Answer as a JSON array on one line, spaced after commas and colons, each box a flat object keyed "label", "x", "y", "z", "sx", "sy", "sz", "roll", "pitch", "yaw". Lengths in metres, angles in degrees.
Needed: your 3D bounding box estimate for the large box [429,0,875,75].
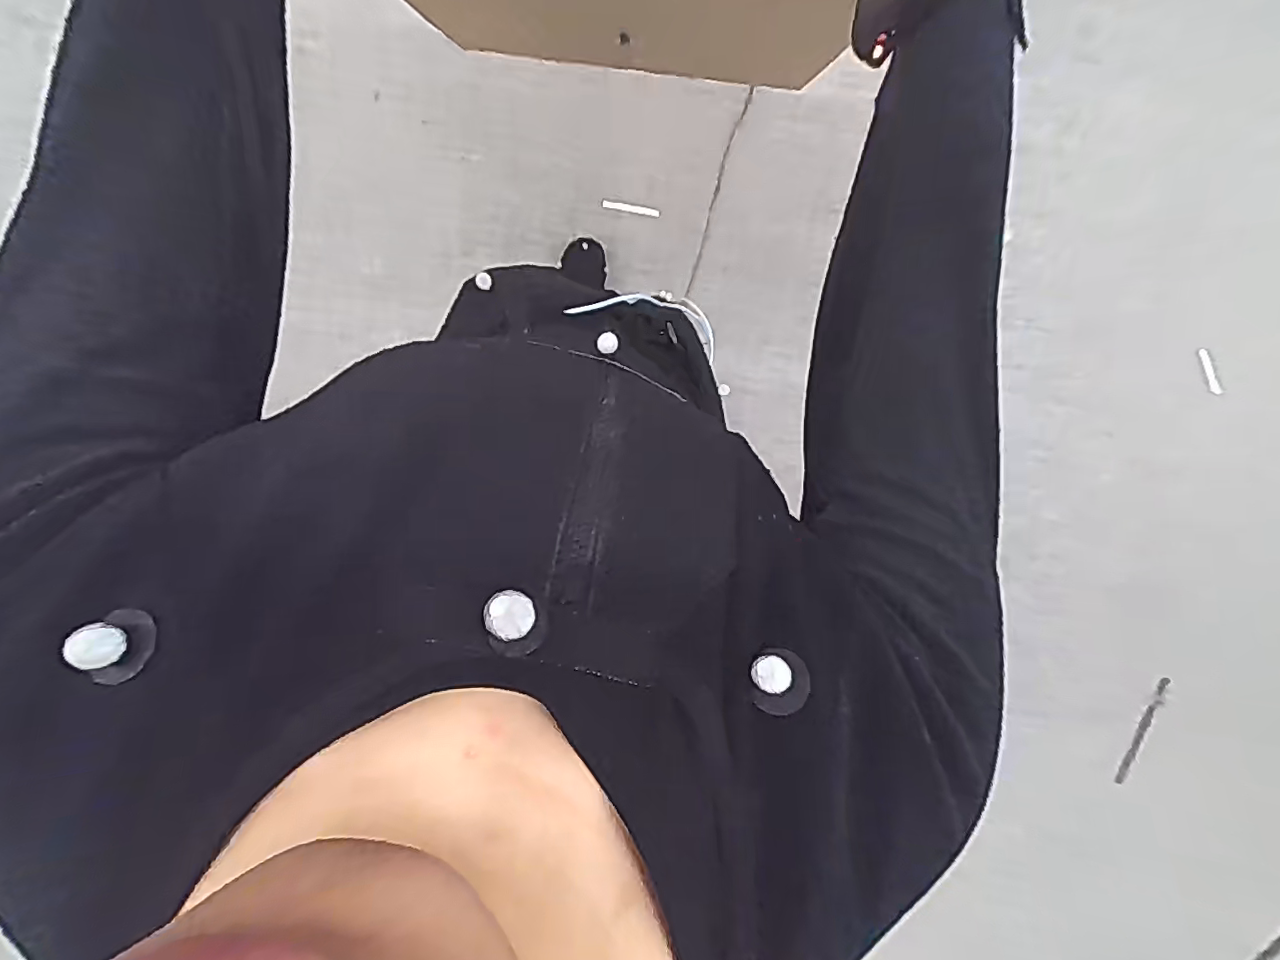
[{"label": "large box", "x": 0.005, "y": -0.563, "z": 0.435, "sx": 0.408, "sy": 0.320, "sz": 0.320, "roll": 7, "pitch": 115, "yaw": 0}]
